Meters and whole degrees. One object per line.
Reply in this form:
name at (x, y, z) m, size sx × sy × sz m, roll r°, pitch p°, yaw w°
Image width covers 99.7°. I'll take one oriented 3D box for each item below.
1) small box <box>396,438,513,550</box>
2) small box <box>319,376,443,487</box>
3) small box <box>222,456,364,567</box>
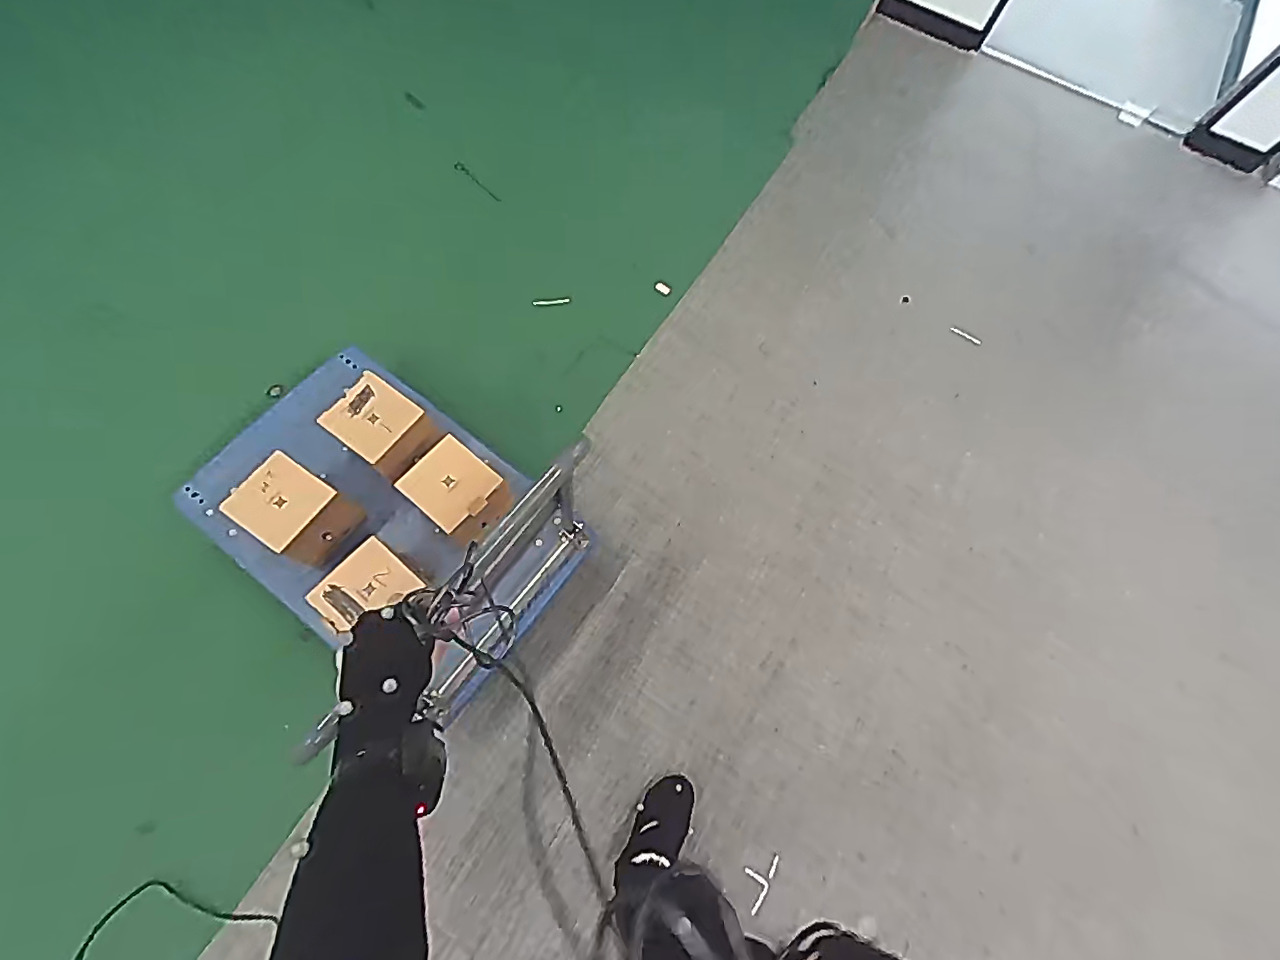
small box at (-0.419, 0.041, 1.254) m, size 0.179 × 0.176 × 0.168 m, roll 39°, pitch 72°, yaw 9°
small box at (-0.609, -0.107, 1.294) m, size 0.179 × 0.176 × 0.168 m, roll 36°, pitch 72°, yaw 8°
small box at (-0.765, 0.080, 1.216) m, size 0.179 × 0.176 × 0.168 m, roll 33°, pitch 71°, yaw 8°
